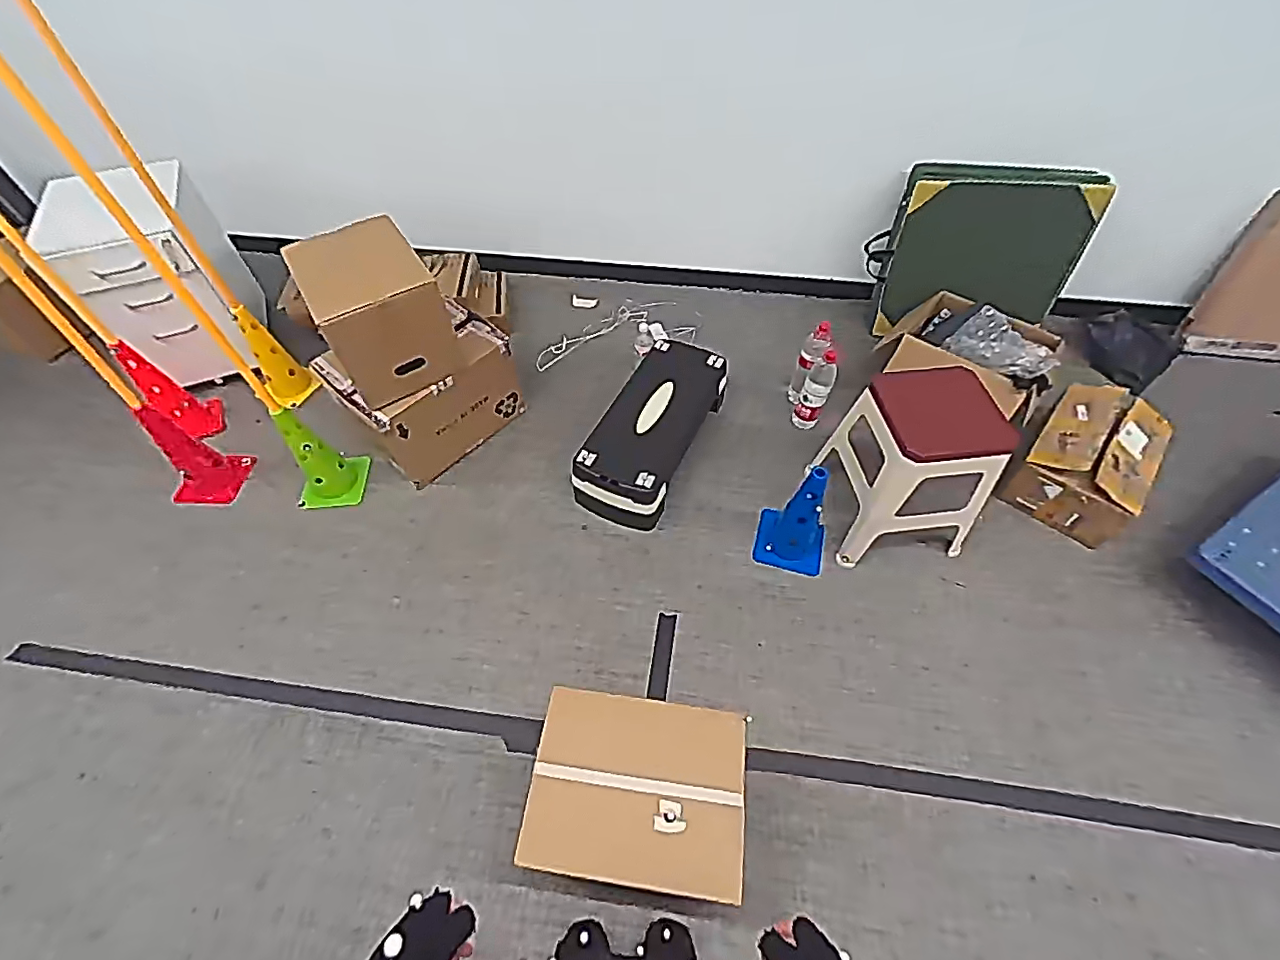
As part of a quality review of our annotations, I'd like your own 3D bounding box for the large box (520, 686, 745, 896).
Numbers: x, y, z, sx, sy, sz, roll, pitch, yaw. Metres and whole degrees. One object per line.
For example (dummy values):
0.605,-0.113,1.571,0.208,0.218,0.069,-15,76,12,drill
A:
-0.005,0.664,1.154,0.408,0.320,0.320,7,55,4,large box
